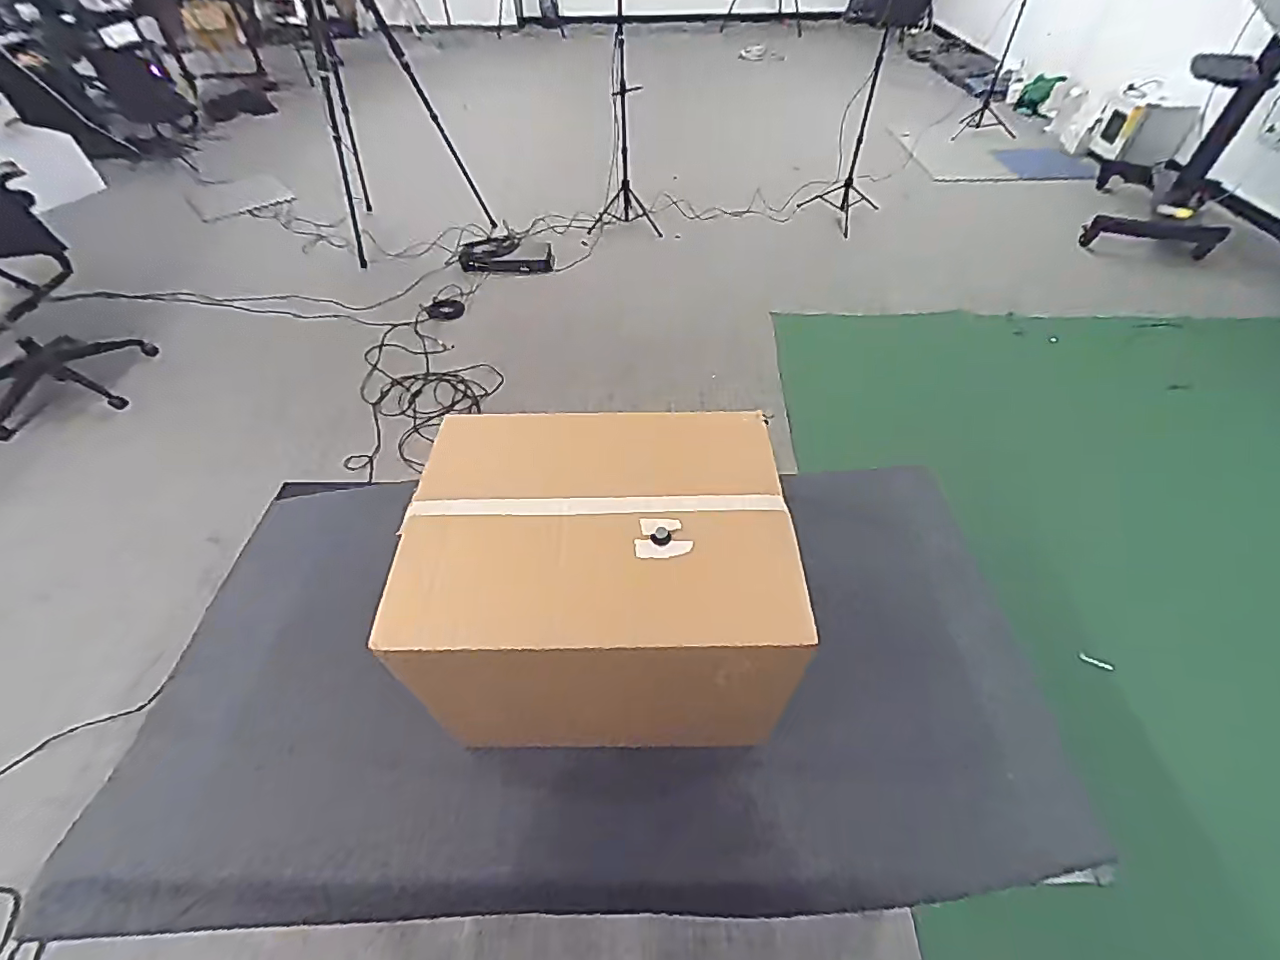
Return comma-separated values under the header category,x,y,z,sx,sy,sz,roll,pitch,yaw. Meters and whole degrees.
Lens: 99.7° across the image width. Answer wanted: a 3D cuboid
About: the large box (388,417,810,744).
category,x,y,z,sx,sy,sz,roll,pitch,yaw
large box,-0.042,0.135,0.710,0.408,0.320,0.320,-1,50,0
